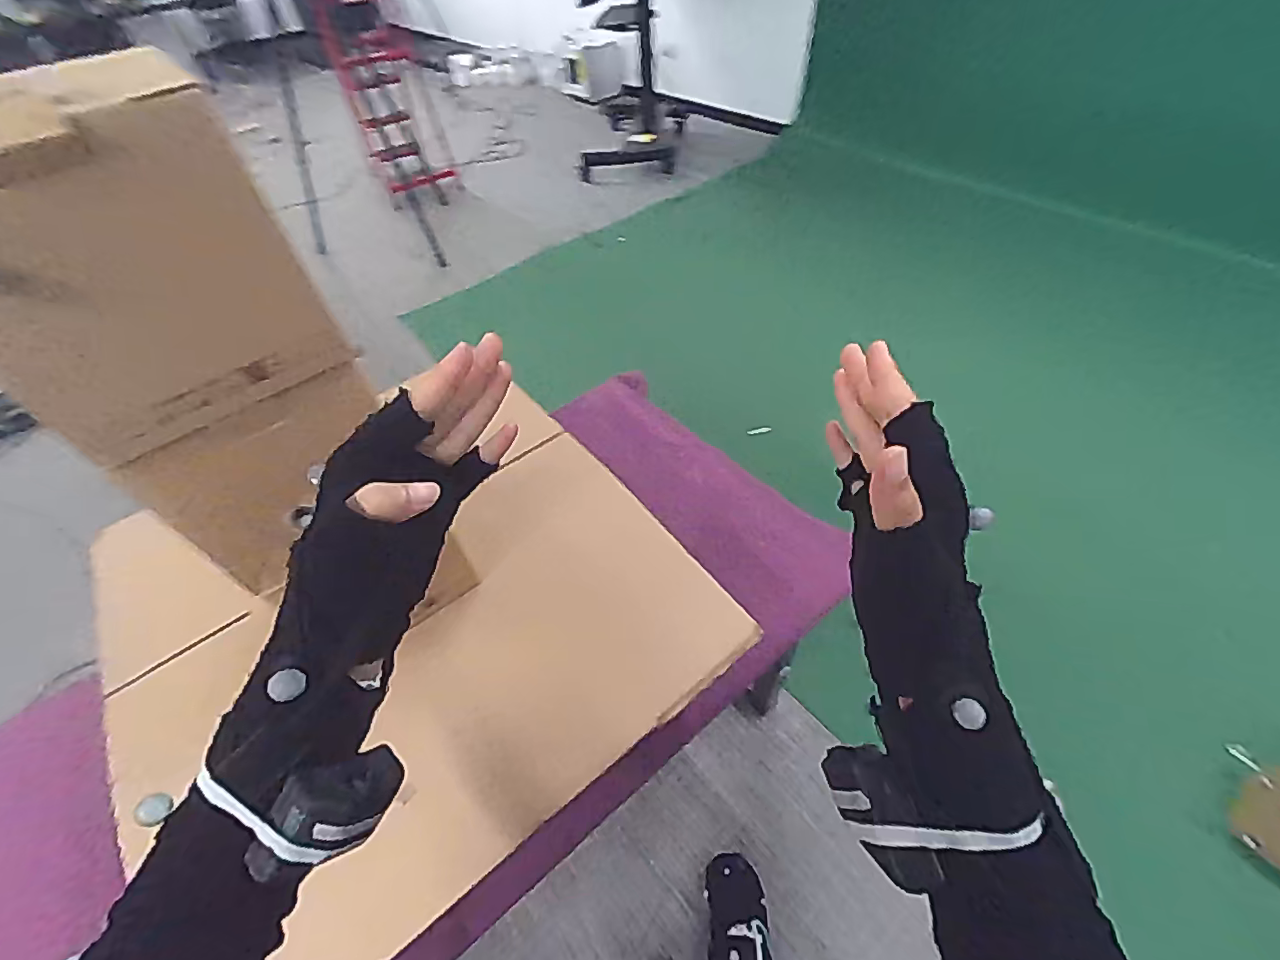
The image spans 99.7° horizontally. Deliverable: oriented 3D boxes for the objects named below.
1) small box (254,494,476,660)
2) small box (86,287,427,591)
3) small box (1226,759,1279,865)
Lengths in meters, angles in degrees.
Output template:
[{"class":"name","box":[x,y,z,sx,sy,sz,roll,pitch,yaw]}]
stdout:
[{"class":"small box","box":[-0.313,0.066,0.606,0.168,0.176,0.179,-34,54,-20]},{"class":"small box","box":[-0.323,-0.037,0.479,0.168,0.176,0.179,-35,55,-22]},{"class":"small box","box":[1.378,0.700,1.107,0.179,0.176,0.168,-34,56,-22]}]
